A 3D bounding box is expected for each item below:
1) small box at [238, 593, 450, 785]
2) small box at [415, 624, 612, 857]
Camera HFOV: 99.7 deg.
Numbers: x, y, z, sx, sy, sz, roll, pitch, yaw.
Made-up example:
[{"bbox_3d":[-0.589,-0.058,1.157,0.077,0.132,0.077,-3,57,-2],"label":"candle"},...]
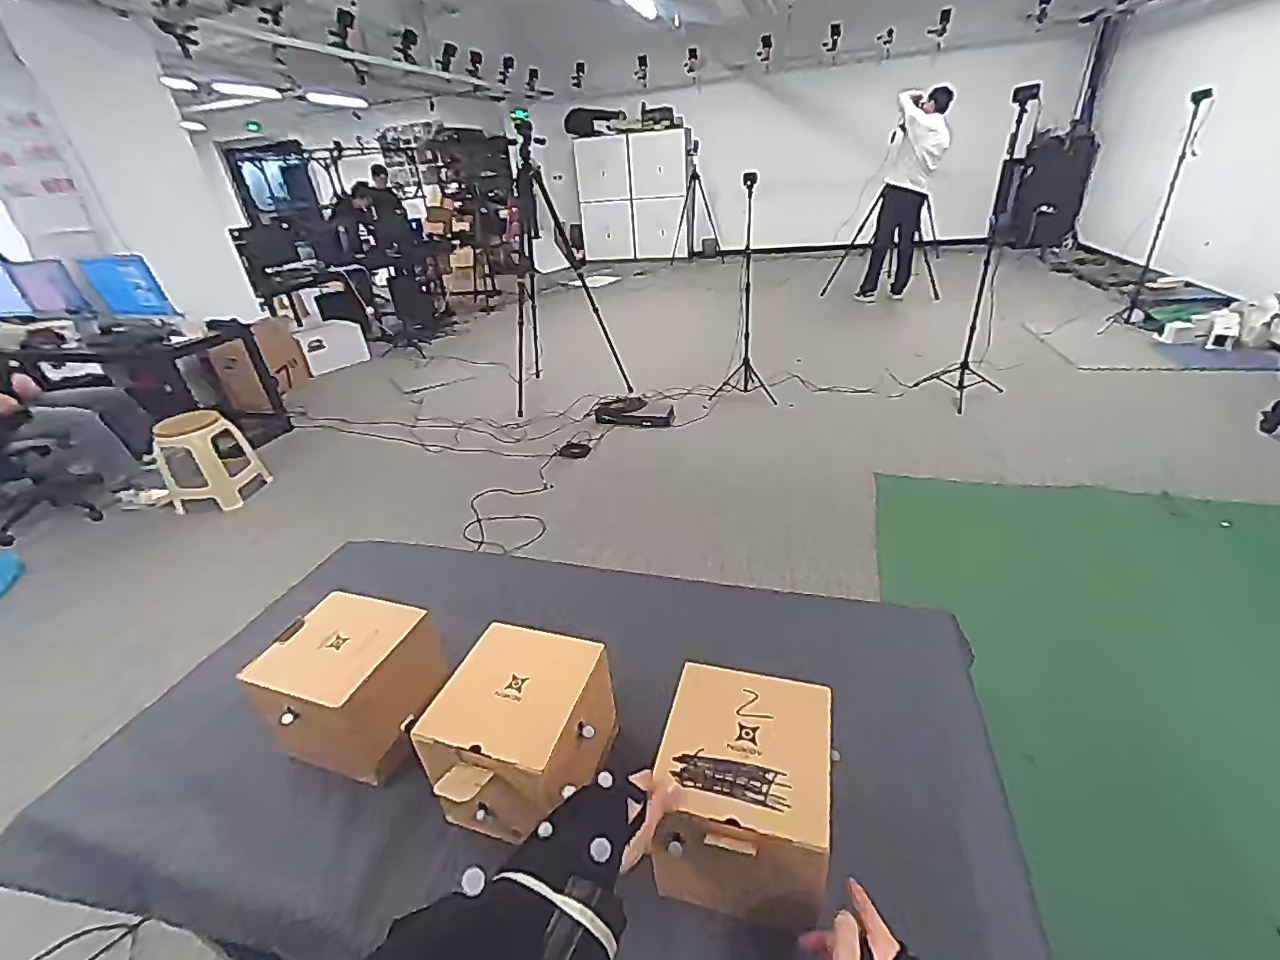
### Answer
[{"bbox_3d":[-0.394,0.287,0.753,0.179,0.176,0.168,7,32,19],"label":"small box"},{"bbox_3d":[-0.139,0.313,0.669,0.168,0.176,0.179,6,32,18],"label":"small box"}]
